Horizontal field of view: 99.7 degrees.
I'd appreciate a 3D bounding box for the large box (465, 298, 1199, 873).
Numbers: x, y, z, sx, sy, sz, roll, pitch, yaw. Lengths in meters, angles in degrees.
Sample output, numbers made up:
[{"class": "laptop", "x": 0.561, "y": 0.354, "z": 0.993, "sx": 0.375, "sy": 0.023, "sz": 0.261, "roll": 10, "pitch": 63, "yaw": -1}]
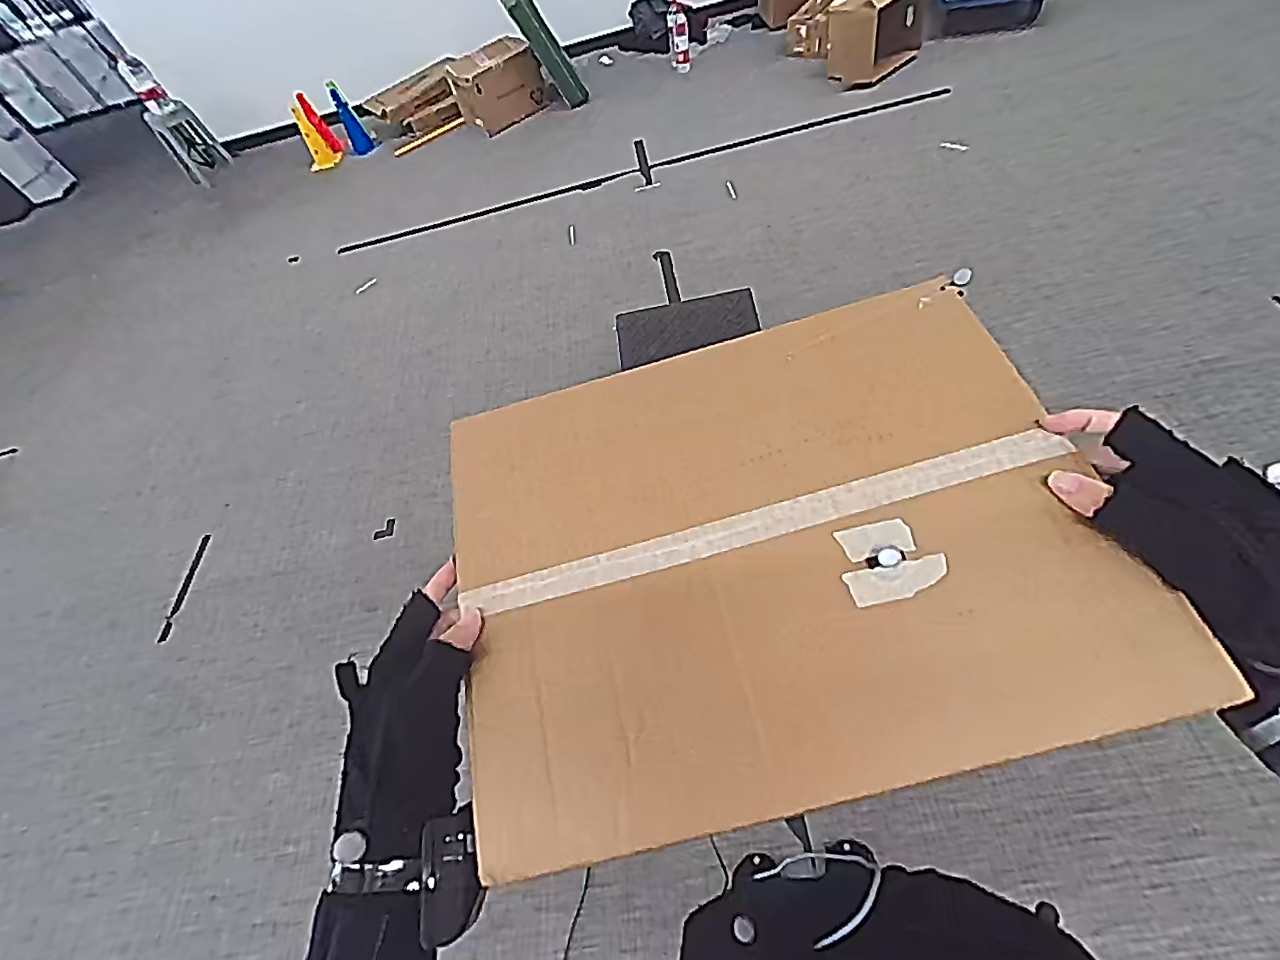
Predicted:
[{"class": "large box", "x": 0.102, "y": 0.105, "z": 0.497, "sx": 0.408, "sy": 0.320, "sz": 0.320, "roll": -16, "pitch": 62, "yaw": 2}]
